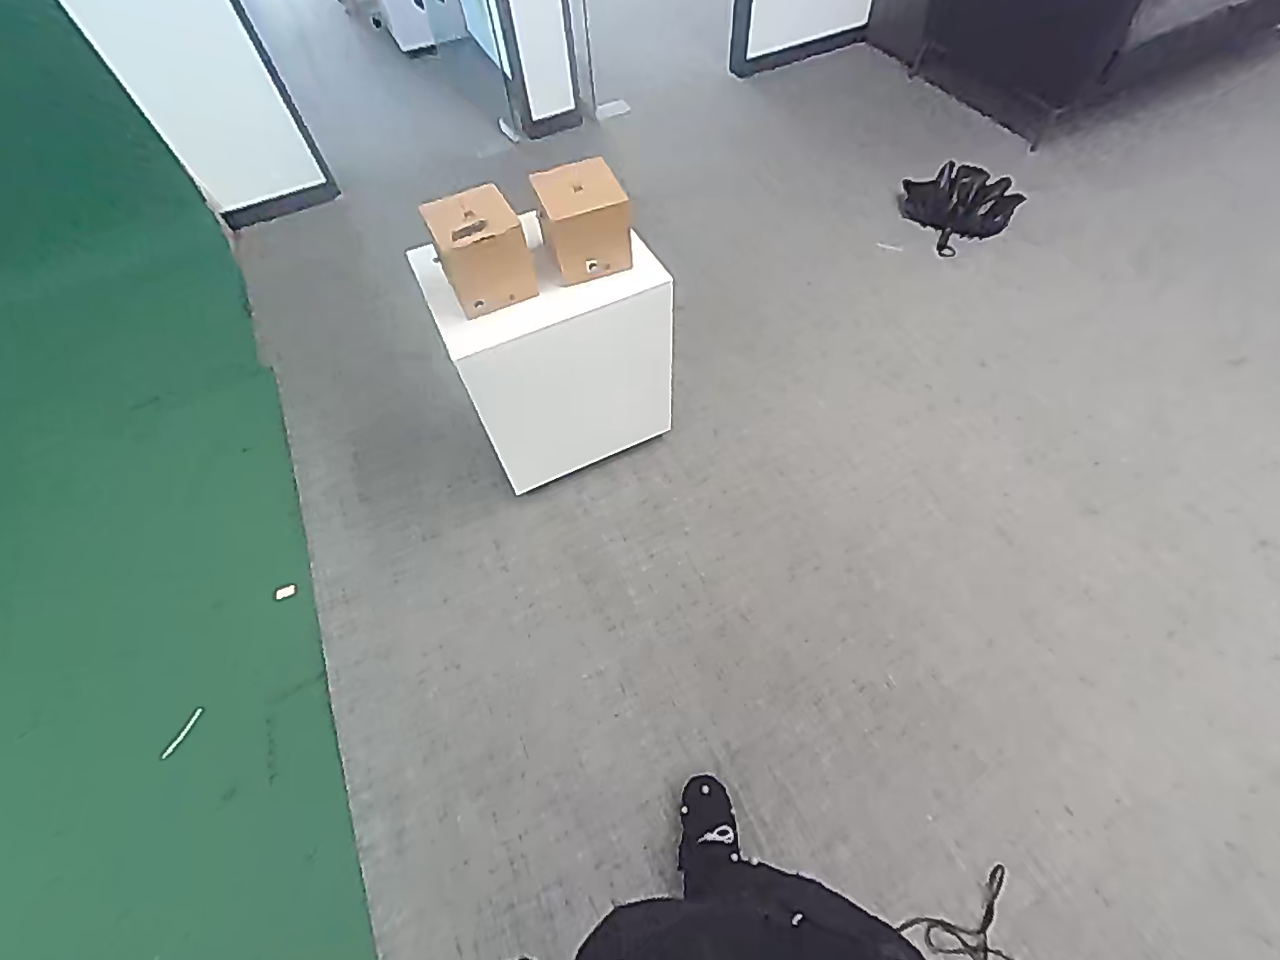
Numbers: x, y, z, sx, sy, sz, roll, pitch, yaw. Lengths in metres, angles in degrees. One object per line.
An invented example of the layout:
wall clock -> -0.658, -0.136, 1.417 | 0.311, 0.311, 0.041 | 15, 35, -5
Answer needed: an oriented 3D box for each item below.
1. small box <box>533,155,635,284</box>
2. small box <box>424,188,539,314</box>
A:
small box -> -0.118, -0.562, 1.176 | 0.168, 0.176, 0.179 | -20, 62, -8
small box -> -0.330, -0.478, 1.151 | 0.168, 0.176, 0.179 | -24, 60, -12
